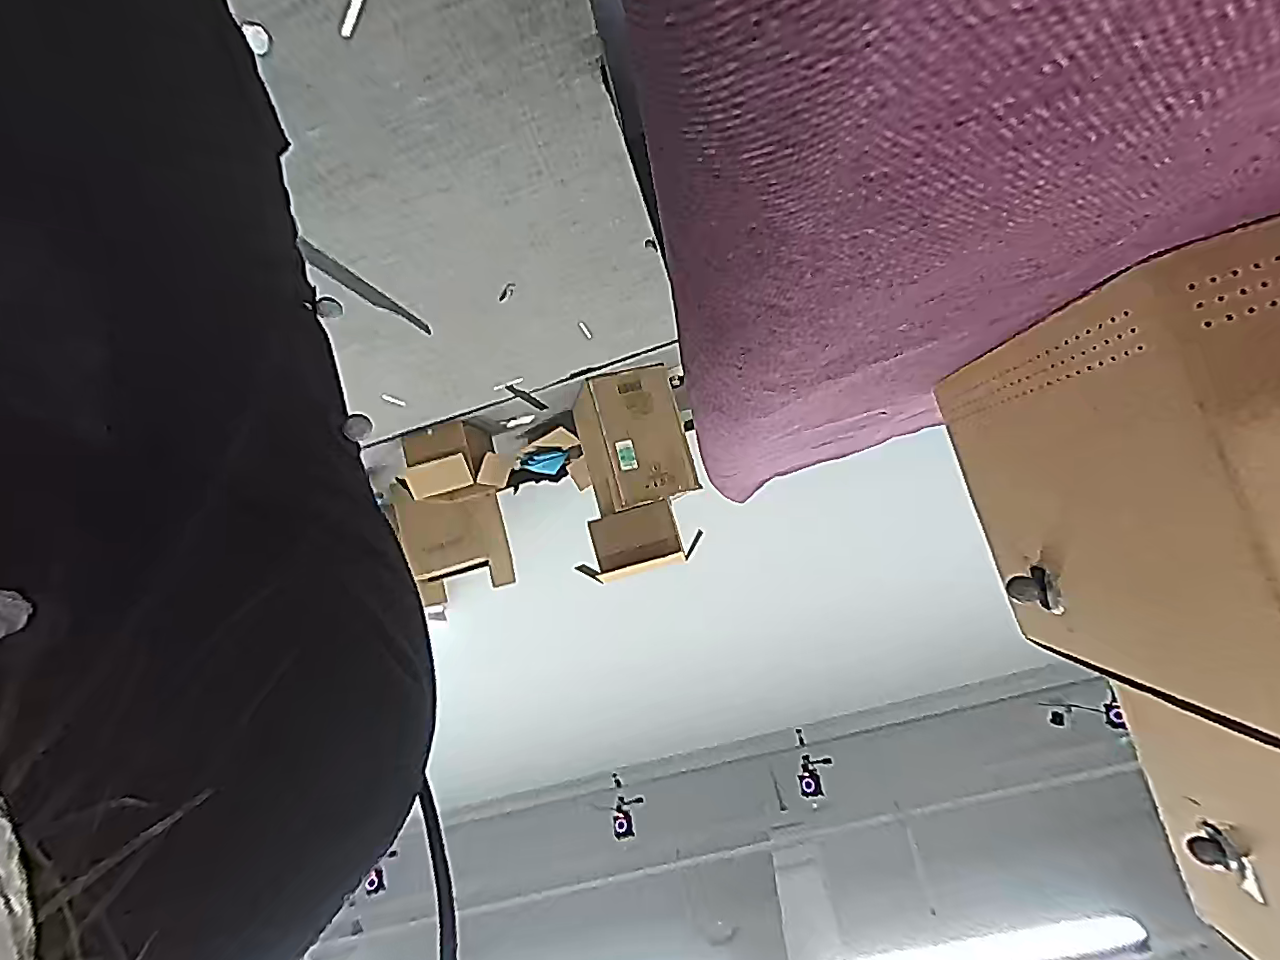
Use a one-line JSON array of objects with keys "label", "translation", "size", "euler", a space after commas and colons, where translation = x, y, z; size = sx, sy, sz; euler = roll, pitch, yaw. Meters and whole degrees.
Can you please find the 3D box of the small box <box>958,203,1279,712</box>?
[{"label": "small box", "translation": [0.280, -0.019, 0.247], "size": [0.168, 0.176, 0.179], "euler": [-19, 174, 5]}]
